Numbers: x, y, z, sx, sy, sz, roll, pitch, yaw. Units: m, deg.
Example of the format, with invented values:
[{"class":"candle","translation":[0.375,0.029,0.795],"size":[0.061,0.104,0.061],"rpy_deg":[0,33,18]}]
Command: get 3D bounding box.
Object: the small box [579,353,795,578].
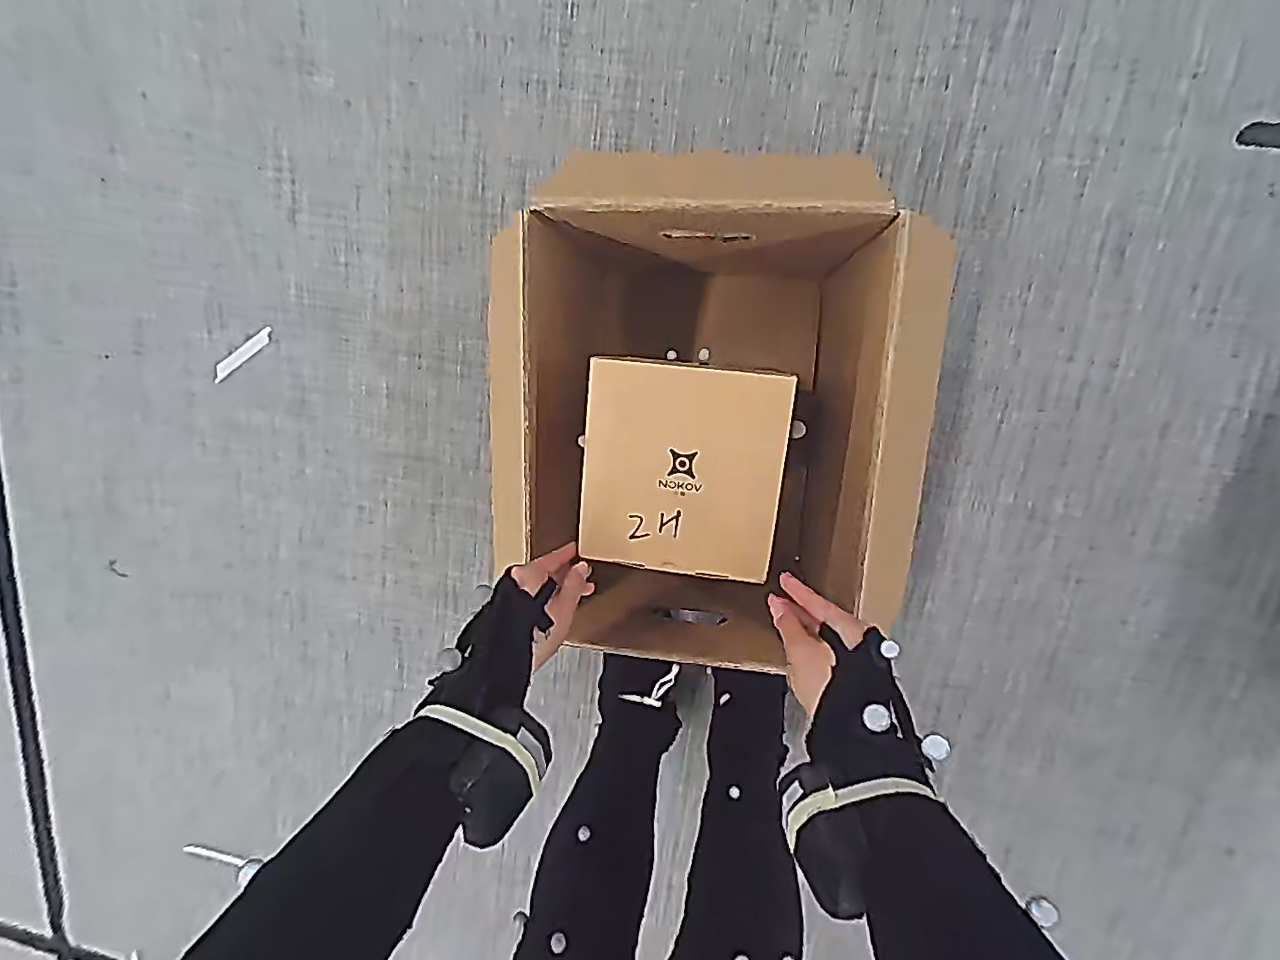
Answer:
[{"class":"small box","translation":[0.045,-0.026,0.528],"size":[0.168,0.176,0.179],"rpy_deg":[7,103,8]}]
